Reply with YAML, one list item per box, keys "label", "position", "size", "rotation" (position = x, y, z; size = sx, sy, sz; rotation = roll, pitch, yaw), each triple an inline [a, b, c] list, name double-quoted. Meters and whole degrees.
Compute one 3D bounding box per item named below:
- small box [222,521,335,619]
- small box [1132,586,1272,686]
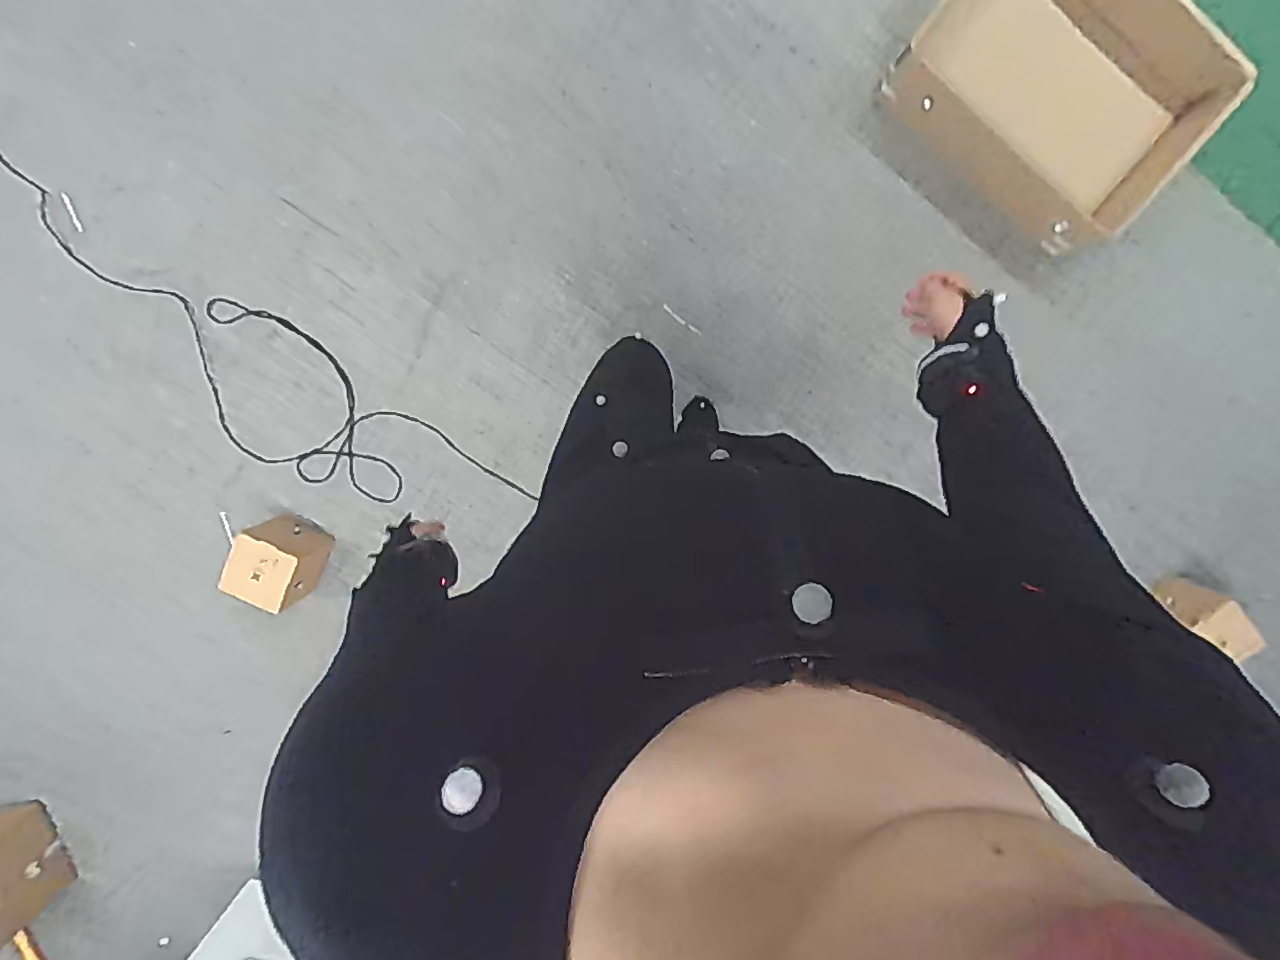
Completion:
- label: "small box"
  position: [-0.966, 0.236, 1.460]
  size: [0.168, 0.176, 0.179]
  rotation: [26, 101, -5]
- label: "small box"
  position: [1.506, 0.409, 1.464]
  size: [0.168, 0.176, 0.179]
  rotation: [-42, 98, 9]
